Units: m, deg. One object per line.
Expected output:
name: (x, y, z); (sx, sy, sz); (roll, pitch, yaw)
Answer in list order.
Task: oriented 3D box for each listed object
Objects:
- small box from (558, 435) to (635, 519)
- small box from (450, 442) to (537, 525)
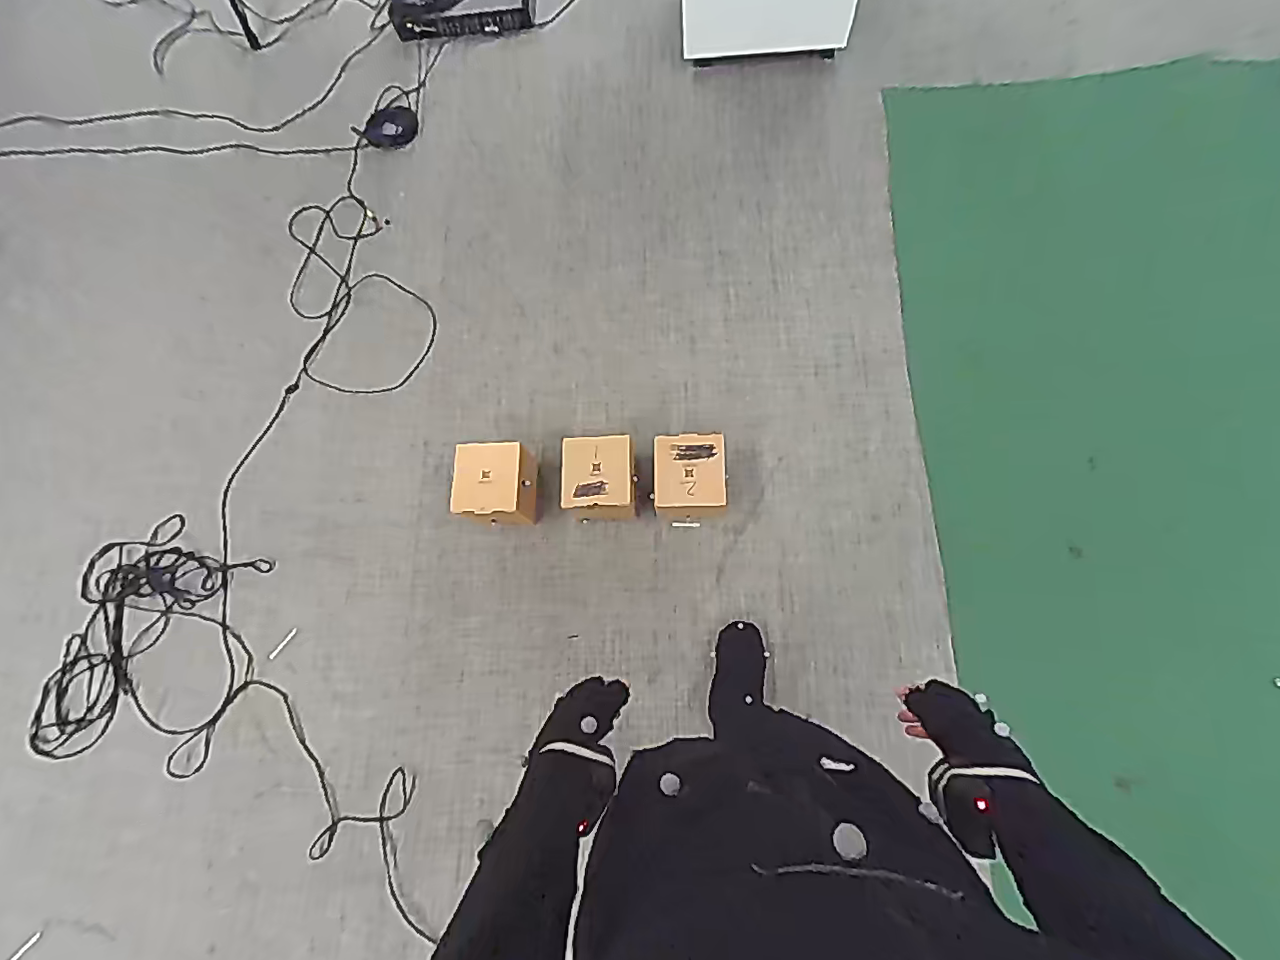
small box: (-0.104, 0.000, 1.367); (0.168, 0.176, 0.179); (-2, 73, 6)
small box: (-0.368, 0.013, 1.394); (0.168, 0.176, 0.179); (-2, 74, 6)
